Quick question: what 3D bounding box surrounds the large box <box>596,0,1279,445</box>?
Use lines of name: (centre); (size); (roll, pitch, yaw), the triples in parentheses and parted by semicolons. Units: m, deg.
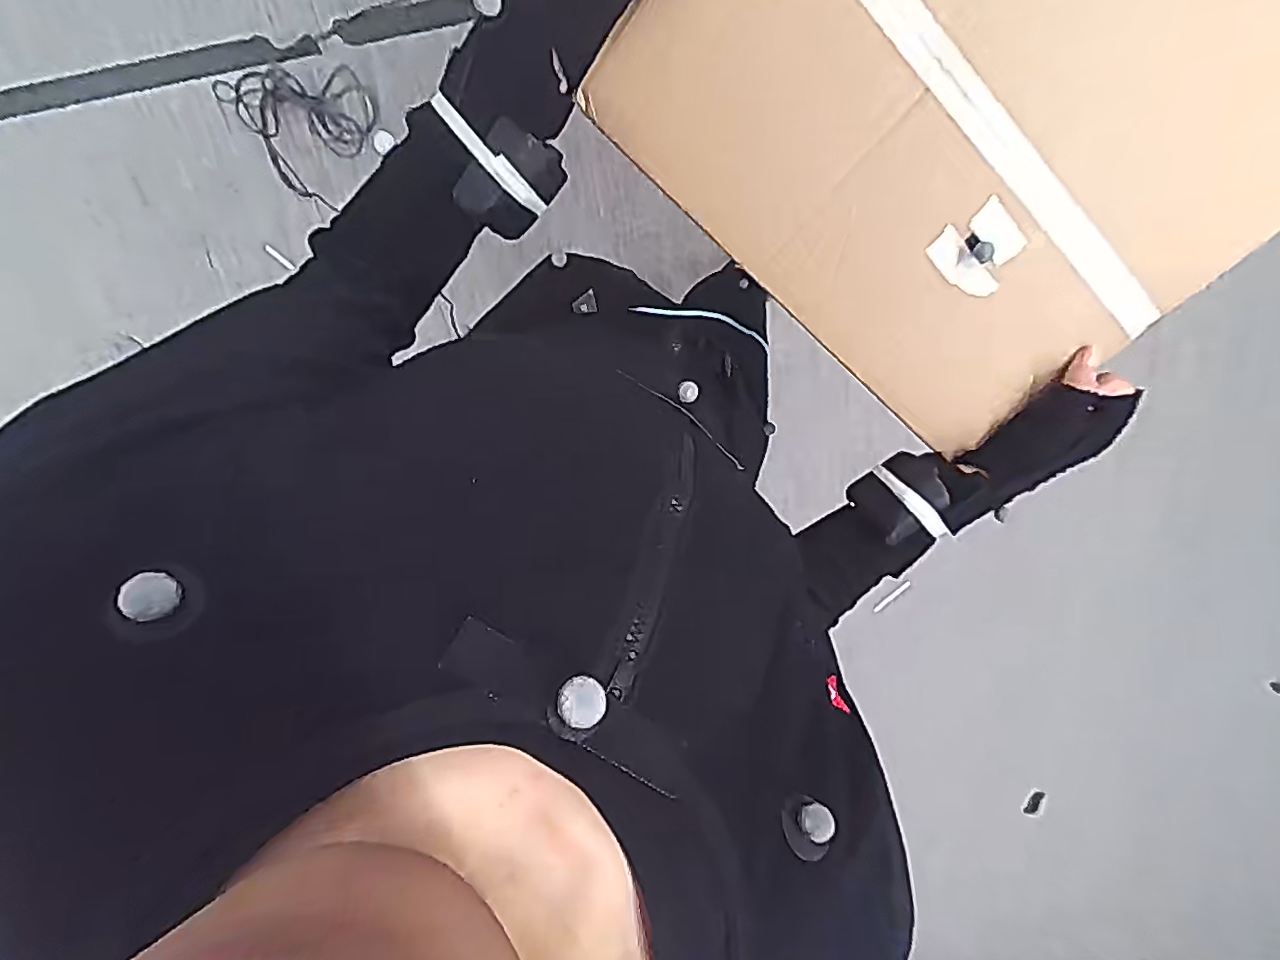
large box: (0.223, -0.313, 0.476); (0.408, 0.320, 0.320); (37, 118, -17)
